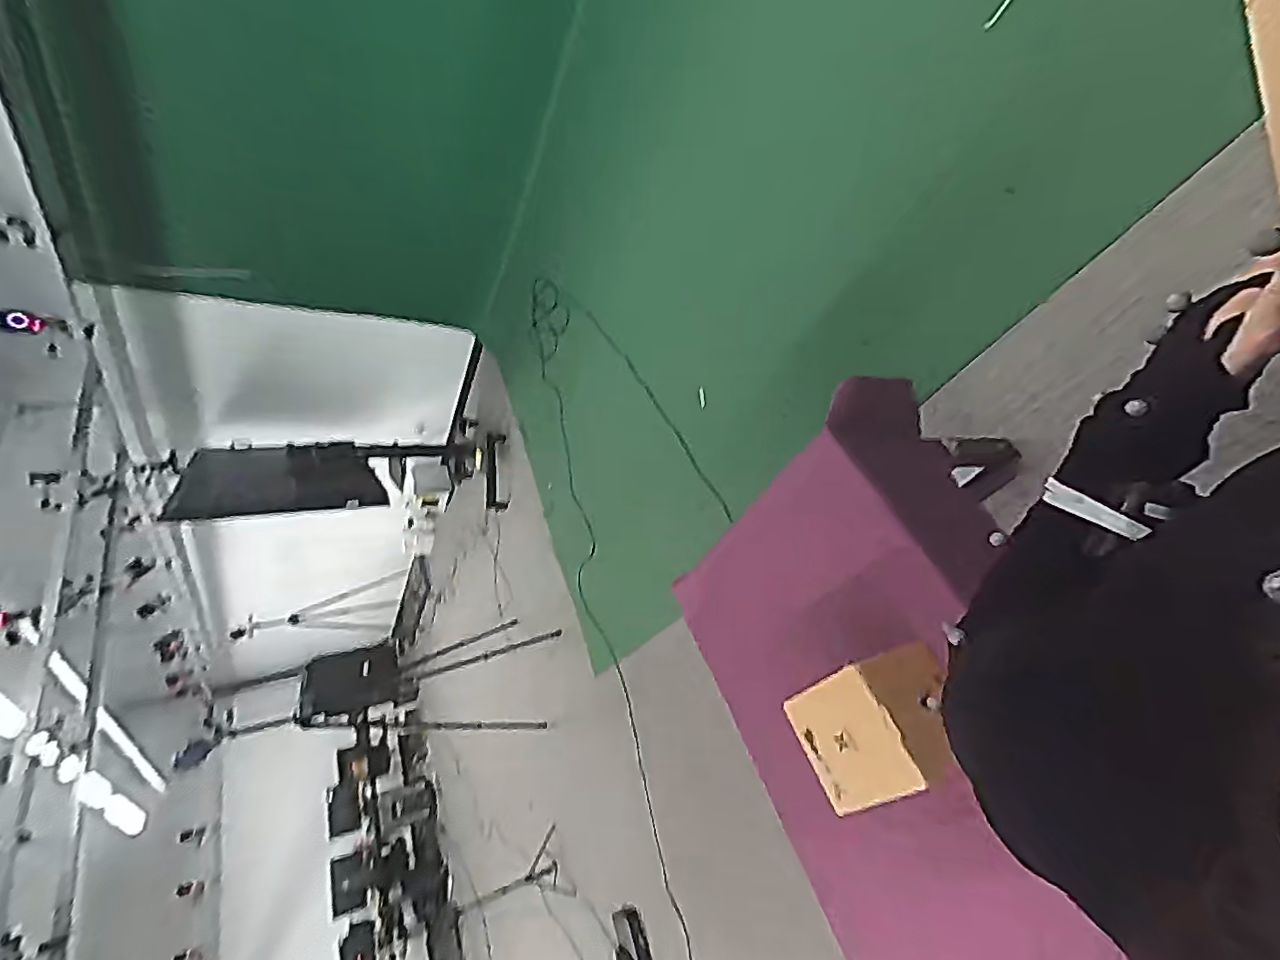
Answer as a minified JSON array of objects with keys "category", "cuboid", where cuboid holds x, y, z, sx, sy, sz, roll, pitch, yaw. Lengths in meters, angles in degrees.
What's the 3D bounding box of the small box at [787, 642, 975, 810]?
[{"category":"small box","cuboid":[0.369,0.367,0.821,0.179,0.176,0.168,-55,49,42]}]
